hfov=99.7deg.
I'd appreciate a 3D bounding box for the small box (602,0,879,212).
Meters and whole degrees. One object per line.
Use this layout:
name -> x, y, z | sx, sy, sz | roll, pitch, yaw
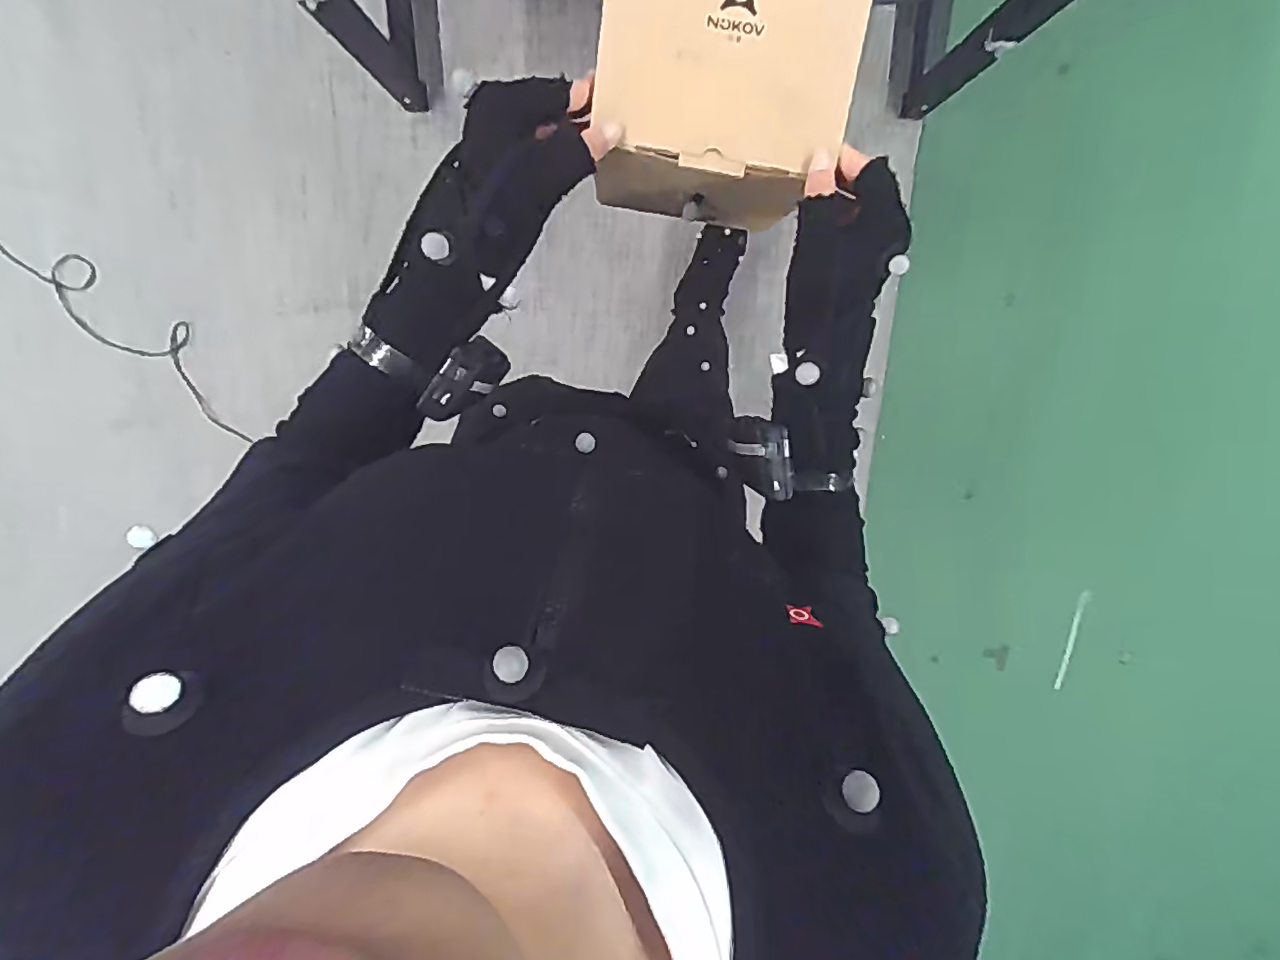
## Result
small box -> 0.067, -0.323, 0.414 | 0.168, 0.176, 0.179 | 8, 105, -4
